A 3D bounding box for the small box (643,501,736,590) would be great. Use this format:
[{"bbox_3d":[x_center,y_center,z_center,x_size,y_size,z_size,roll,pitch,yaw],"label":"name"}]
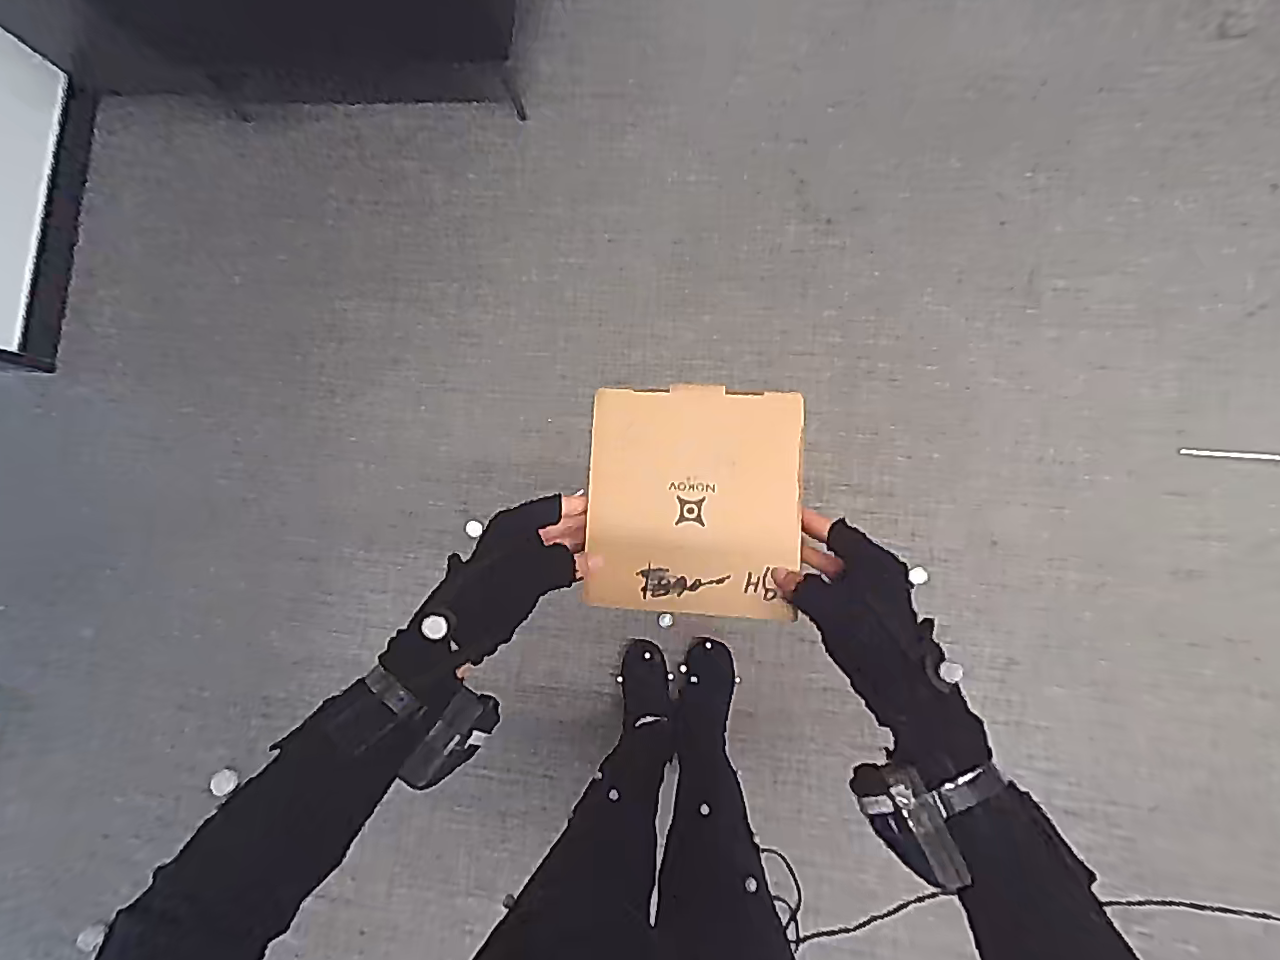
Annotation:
[{"bbox_3d":[0.110,0.139,1.167,0.179,0.176,0.168,5,85,8],"label":"small box"}]
